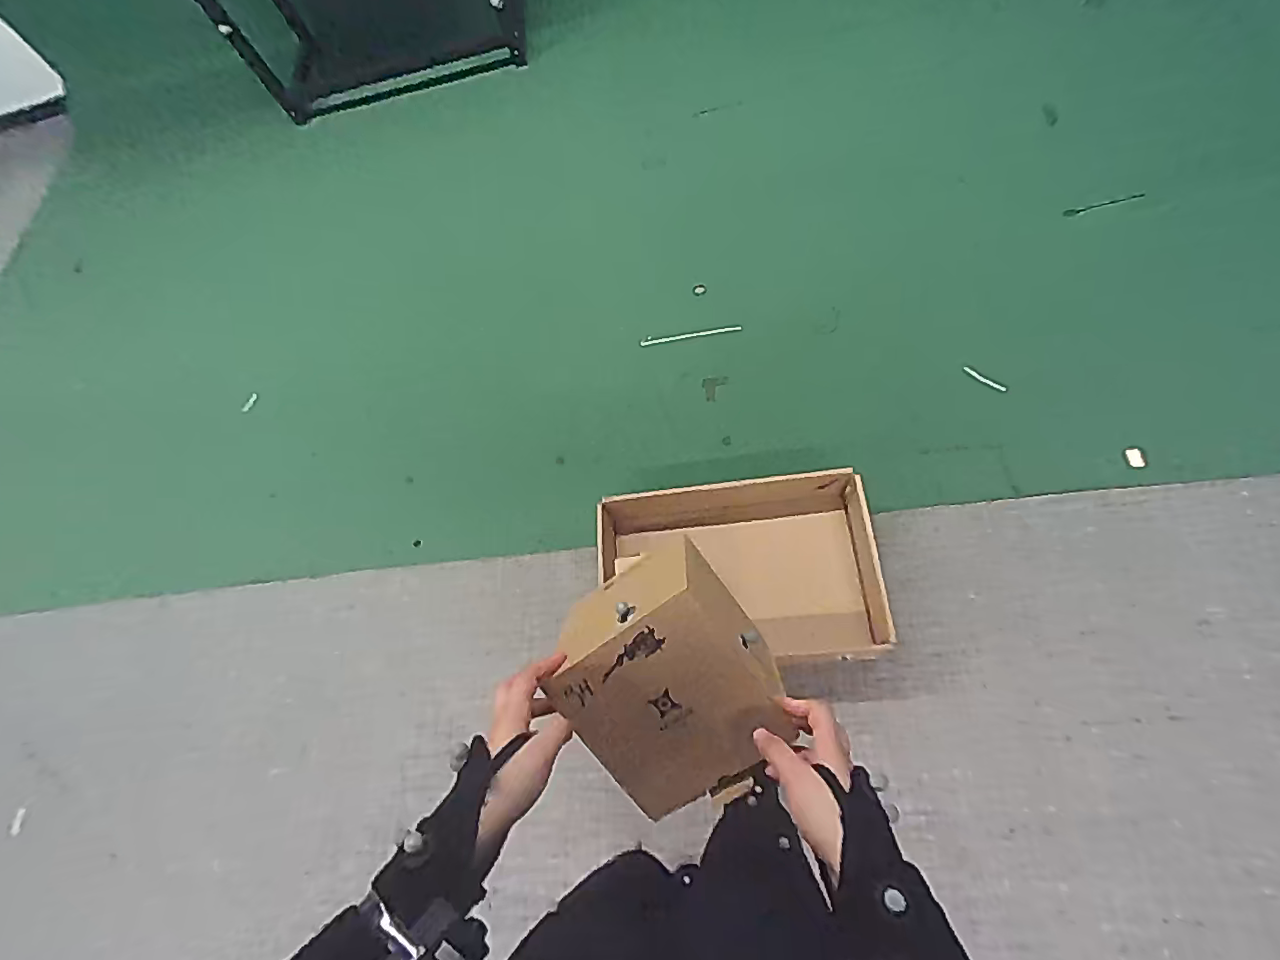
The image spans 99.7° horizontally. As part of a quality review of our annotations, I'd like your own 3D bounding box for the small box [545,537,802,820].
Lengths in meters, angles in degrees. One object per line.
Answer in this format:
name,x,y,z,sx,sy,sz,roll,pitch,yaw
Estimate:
small box,0.034,0.187,0.555,0.168,0.176,0.179,-36,97,9
